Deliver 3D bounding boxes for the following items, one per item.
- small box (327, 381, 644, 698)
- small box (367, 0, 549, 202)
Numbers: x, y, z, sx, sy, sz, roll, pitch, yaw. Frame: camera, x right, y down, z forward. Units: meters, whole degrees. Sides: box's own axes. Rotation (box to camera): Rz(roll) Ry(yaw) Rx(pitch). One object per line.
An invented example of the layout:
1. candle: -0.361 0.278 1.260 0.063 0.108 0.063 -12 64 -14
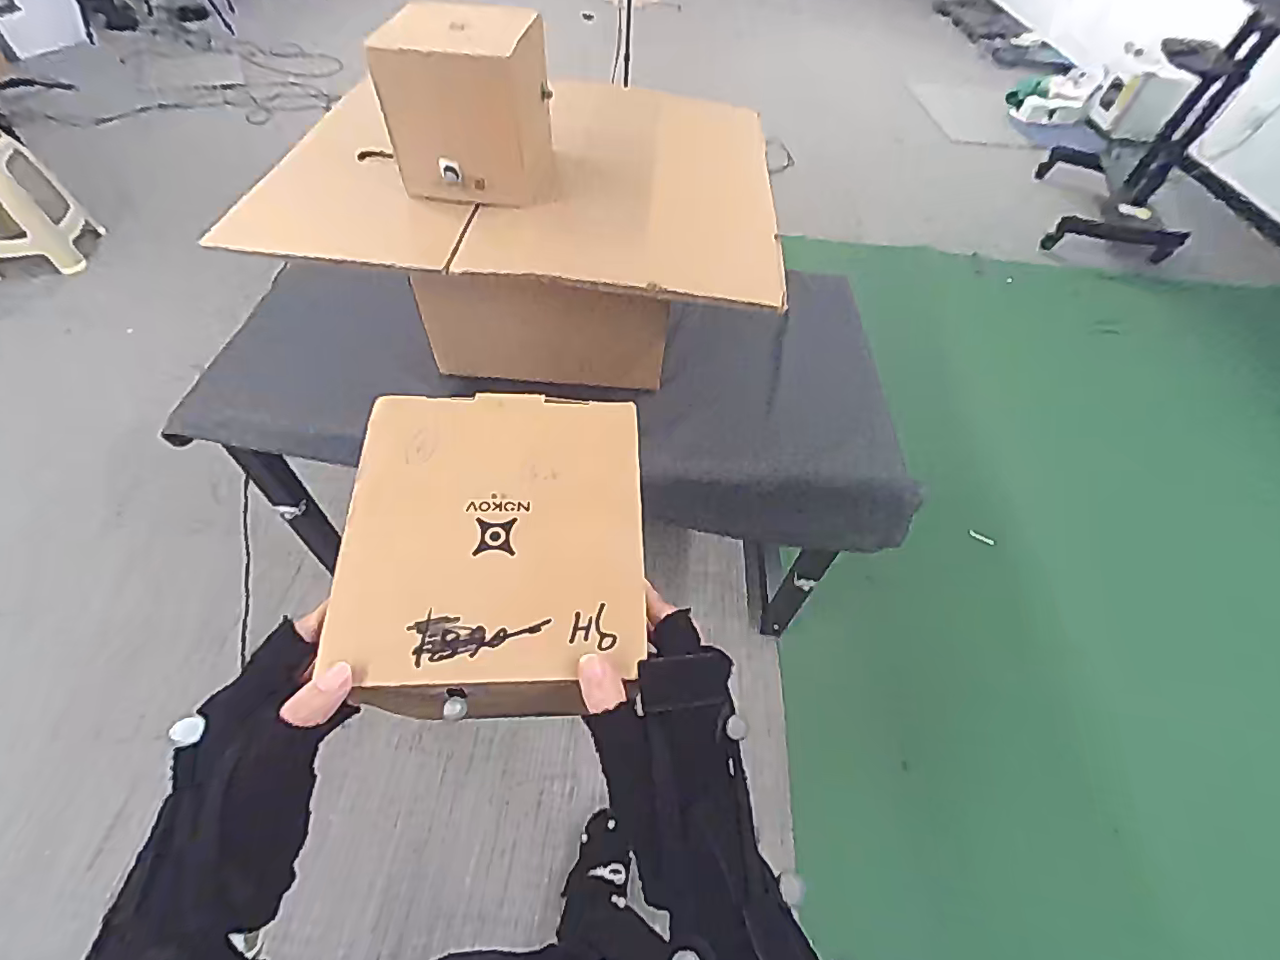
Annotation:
1. small box: -0.088 0.051 0.391 0.168 0.176 0.179 0 61 -5
2. small box: -0.215 -0.490 0.700 0.168 0.176 0.179 5 55 1
